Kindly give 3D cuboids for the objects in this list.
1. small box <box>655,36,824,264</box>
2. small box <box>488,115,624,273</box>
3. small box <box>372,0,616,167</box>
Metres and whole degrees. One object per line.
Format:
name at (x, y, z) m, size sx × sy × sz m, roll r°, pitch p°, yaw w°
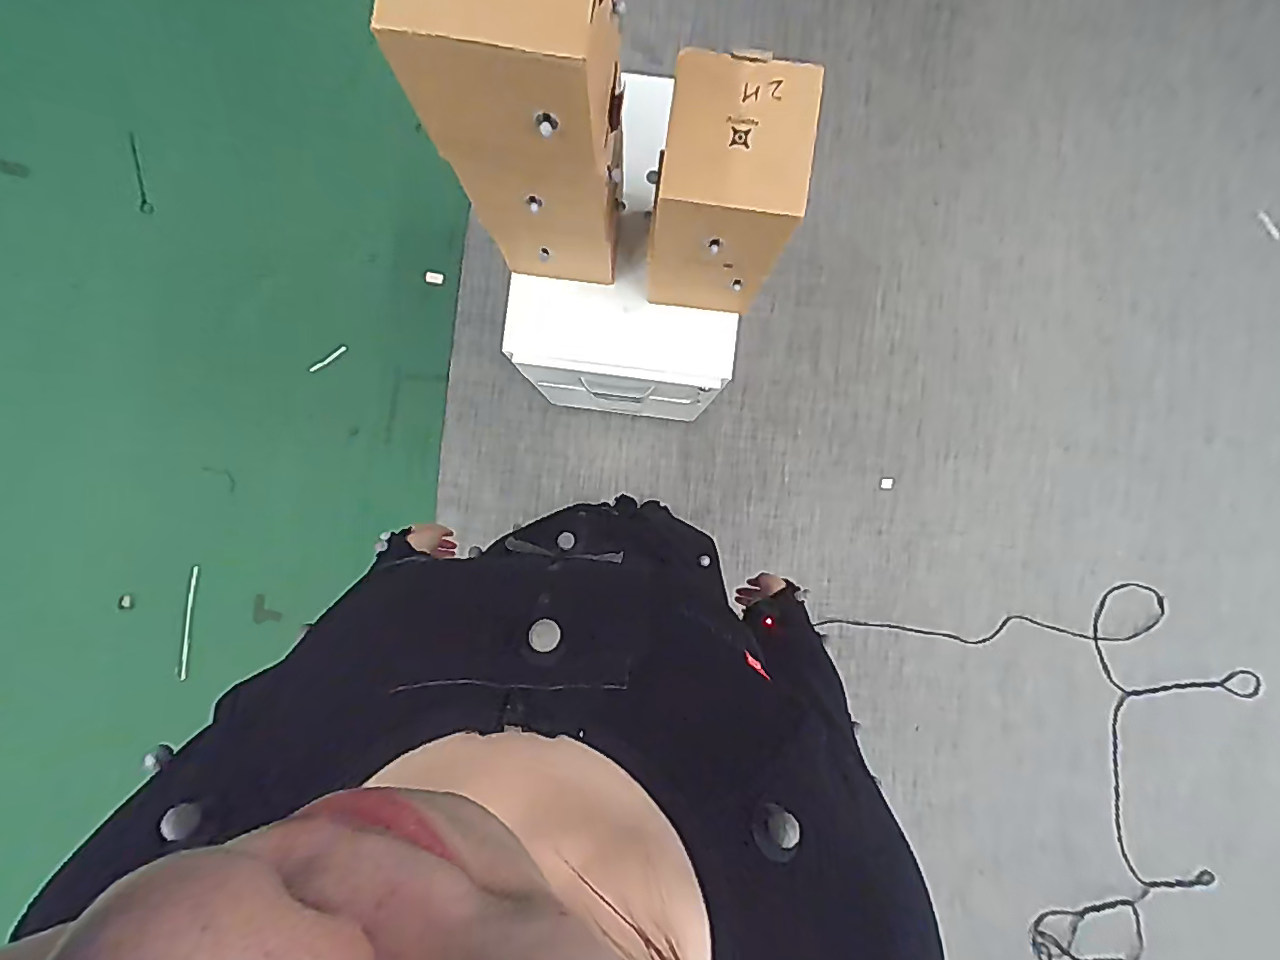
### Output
small box at (0.111, -0.392, 0.675) m, size 0.168 × 0.176 × 0.179 m, roll 8°, pitch 89°, yaw -1°
small box at (-0.120, -0.437, 0.837) m, size 0.179 × 0.176 × 0.168 m, roll 6°, pitch 90°, yaw -2°
small box at (-0.118, -0.427, 0.508) m, size 0.179 × 0.176 × 0.168 m, roll 7°, pitch 89°, yaw -1°
